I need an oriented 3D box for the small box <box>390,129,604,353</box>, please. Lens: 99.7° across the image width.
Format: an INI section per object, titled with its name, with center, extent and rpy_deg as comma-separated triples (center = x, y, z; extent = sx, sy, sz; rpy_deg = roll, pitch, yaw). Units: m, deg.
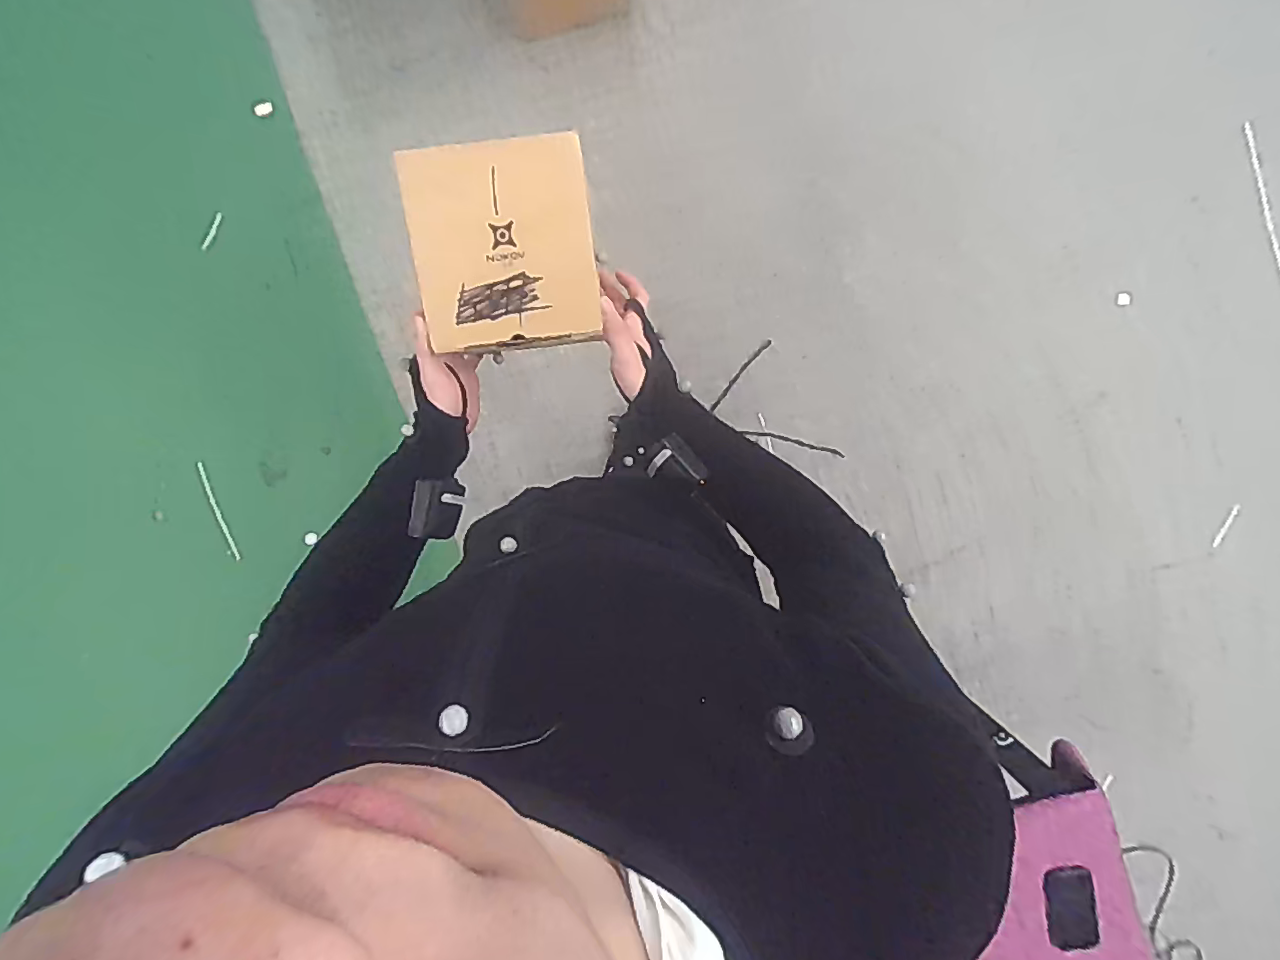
[small box]
center = -0.129, -0.227, 0.561
extent = 0.168, 0.176, 0.179
rpy_deg = -7, 101, -1
